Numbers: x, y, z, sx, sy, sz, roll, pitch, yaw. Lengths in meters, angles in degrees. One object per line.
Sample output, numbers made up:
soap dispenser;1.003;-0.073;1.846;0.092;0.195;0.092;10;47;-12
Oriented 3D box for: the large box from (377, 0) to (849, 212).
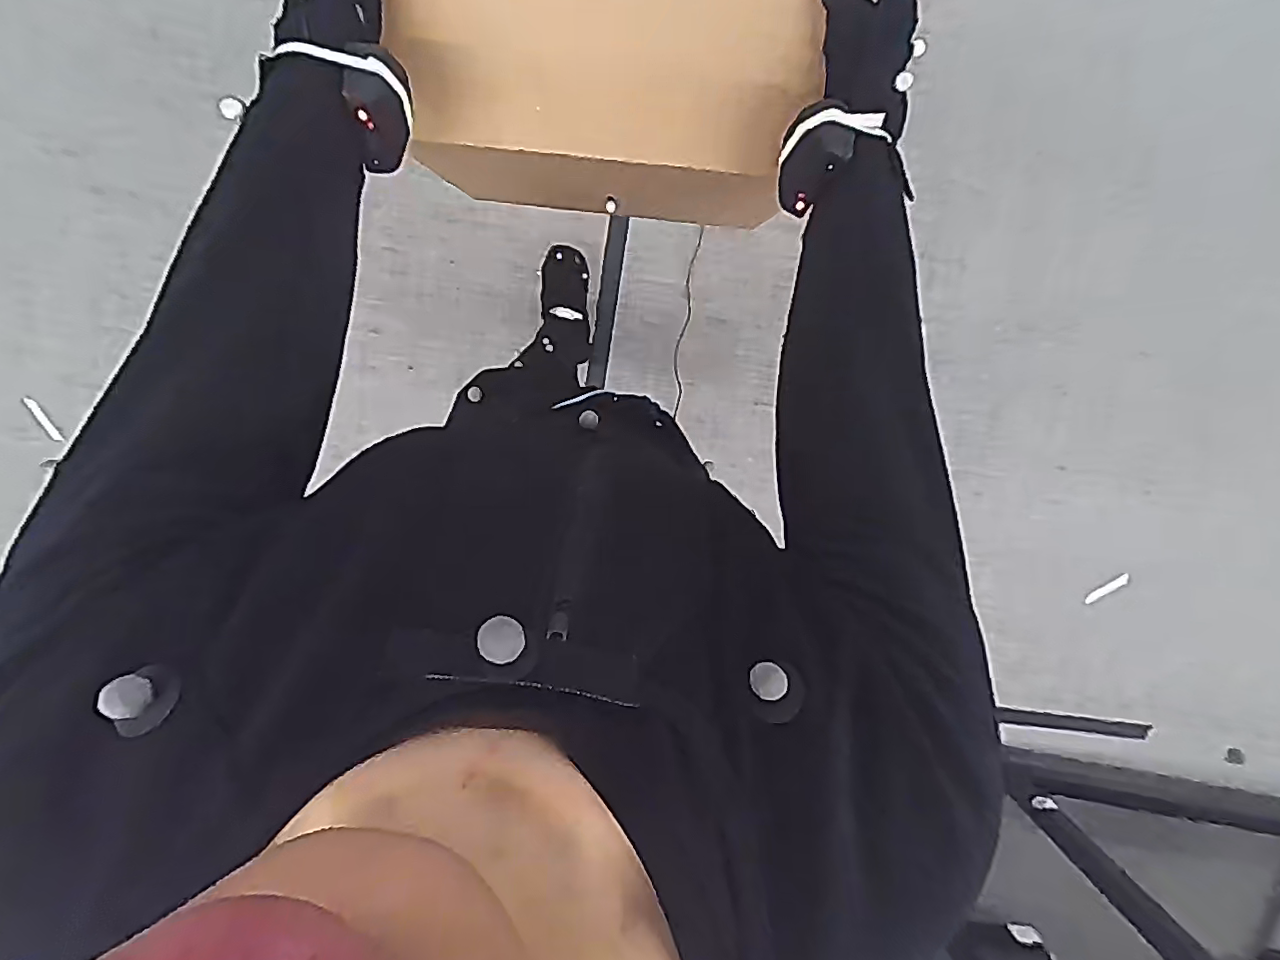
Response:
large box;-0.018;-0.491;0.583;0.408;0.320;0.320;5;107;-2
